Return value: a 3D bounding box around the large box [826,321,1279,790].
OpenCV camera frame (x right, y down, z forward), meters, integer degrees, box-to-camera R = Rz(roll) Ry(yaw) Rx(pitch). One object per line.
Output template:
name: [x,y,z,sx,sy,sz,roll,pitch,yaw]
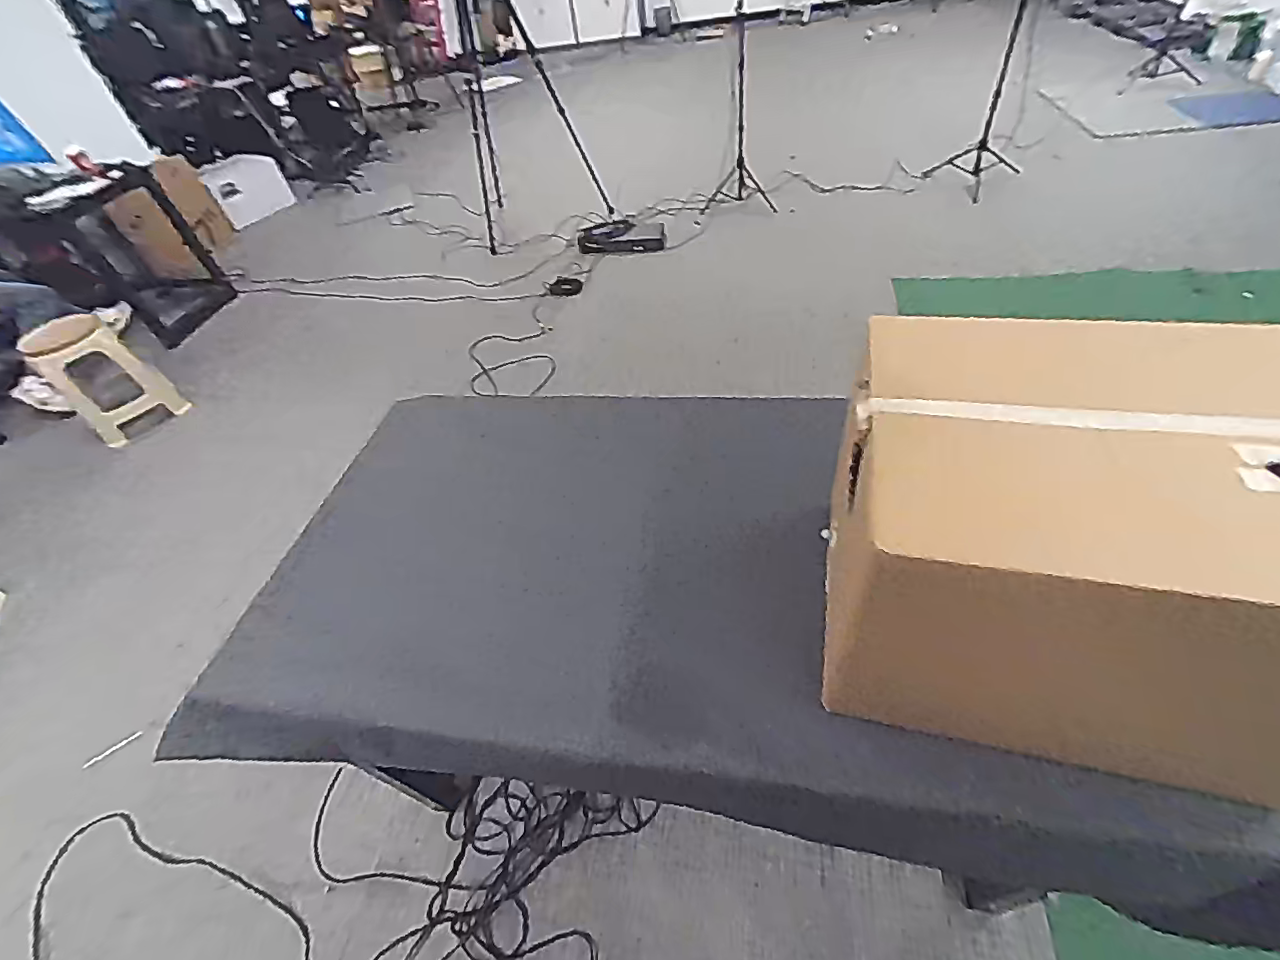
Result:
large box: [0.414,0.061,0.540,0.408,0.320,0.320,7,49,15]
